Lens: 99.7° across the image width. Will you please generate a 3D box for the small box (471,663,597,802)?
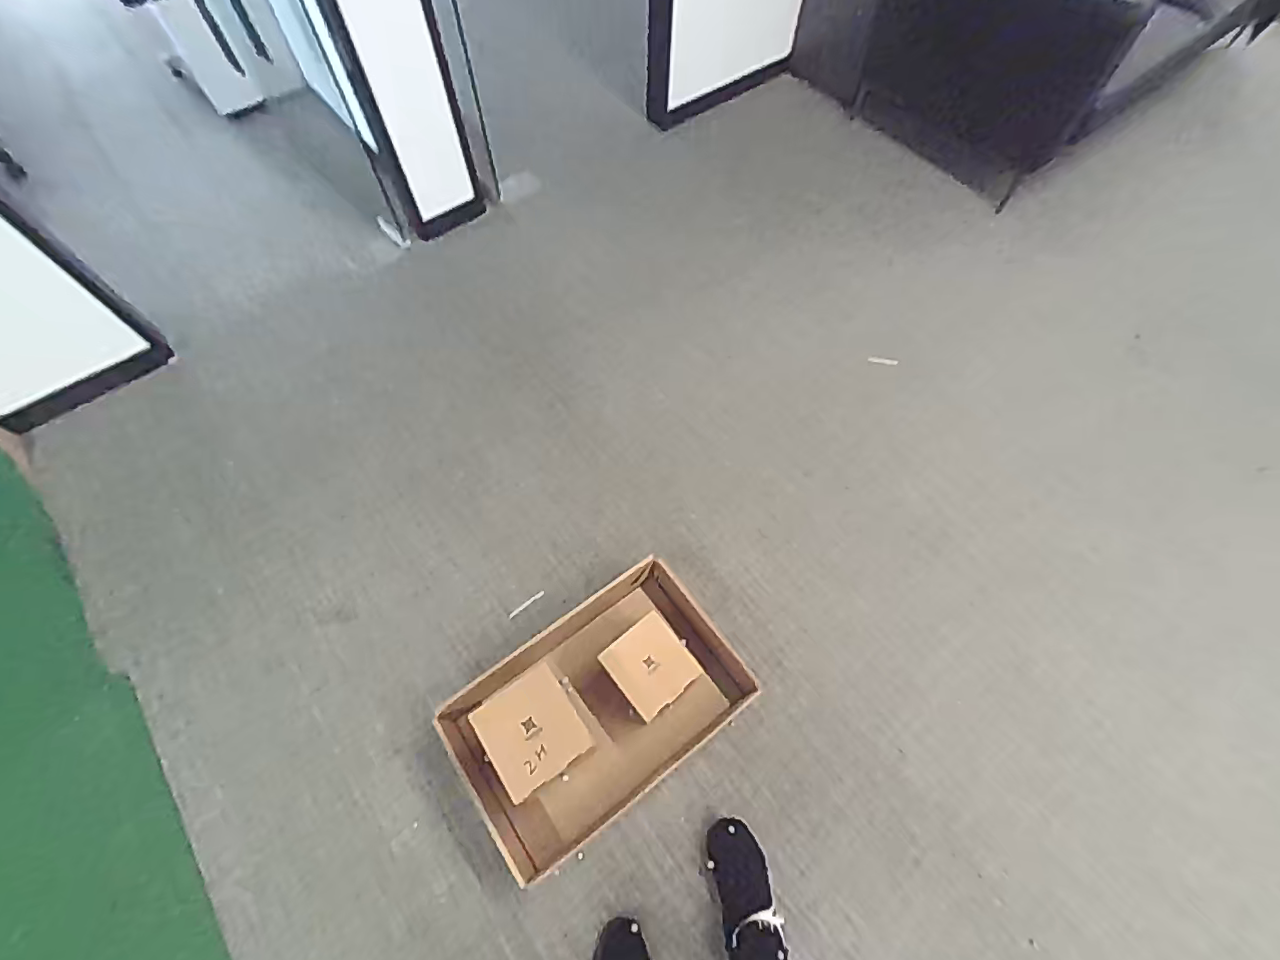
[{"bbox_3d":[-0.197,0.485,1.038,0.168,0.176,0.179,-32,68,-16],"label":"small box"}]
